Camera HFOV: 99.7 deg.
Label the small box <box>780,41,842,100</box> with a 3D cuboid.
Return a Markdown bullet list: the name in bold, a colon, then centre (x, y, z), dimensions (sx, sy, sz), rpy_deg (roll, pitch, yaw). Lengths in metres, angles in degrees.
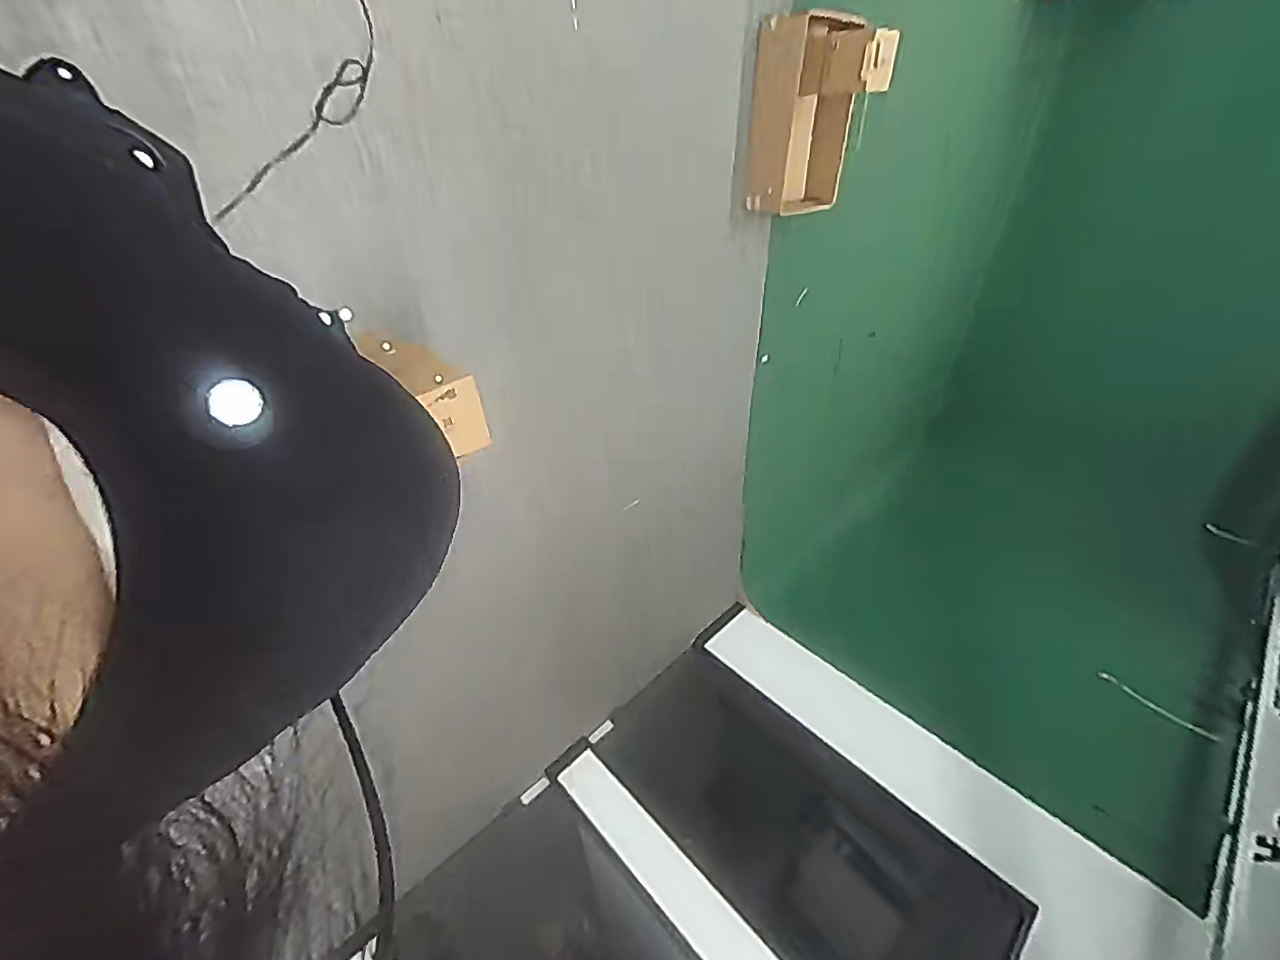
- **small box**: centre (0.637, -1.493, 1.975), dimensions (0.179, 0.176, 0.168), rpy_deg (-30, 134, -32)

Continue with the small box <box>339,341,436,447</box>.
- **small box**: centre (-0.579, -0.208, 1.286), dimensions (0.168, 0.176, 0.179), rpy_deg (-32, 134, -33)

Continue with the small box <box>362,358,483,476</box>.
- **small box**: centre (-0.472, -0.143, 1.181), dimensions (0.168, 0.176, 0.179), rpy_deg (-32, 136, -32)

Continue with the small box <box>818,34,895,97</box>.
- **small box**: centre (0.741, -1.425, 1.866), dimensions (0.179, 0.176, 0.168), rpy_deg (-29, 135, -34)
